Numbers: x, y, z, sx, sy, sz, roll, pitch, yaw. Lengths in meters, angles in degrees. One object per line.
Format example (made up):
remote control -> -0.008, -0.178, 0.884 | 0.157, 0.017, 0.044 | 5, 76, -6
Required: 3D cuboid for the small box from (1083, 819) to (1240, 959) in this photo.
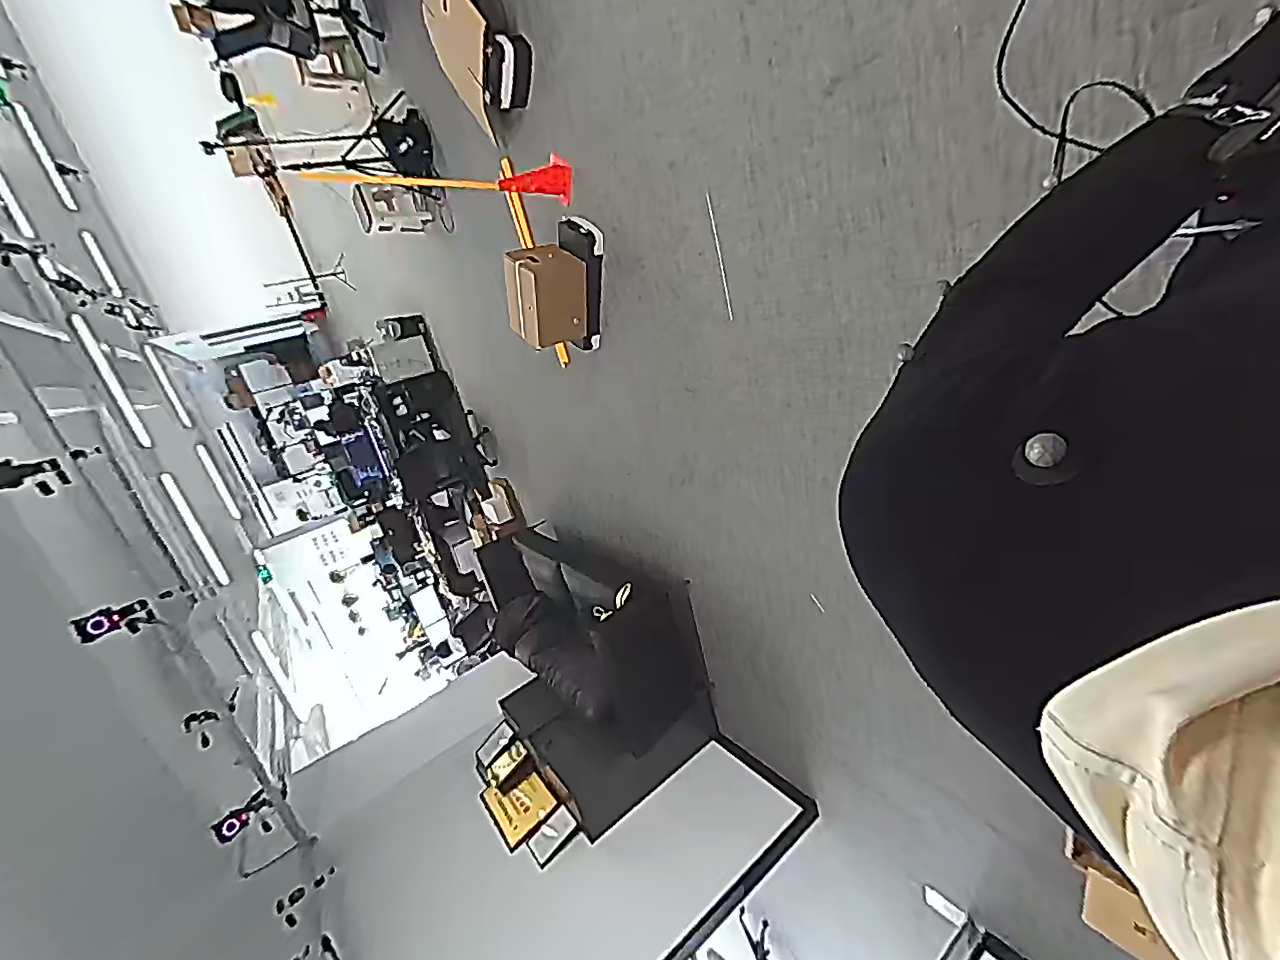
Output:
small box -> 0.987, 0.801, 1.027 | 0.179, 0.176, 0.168 | 18, 126, 53
